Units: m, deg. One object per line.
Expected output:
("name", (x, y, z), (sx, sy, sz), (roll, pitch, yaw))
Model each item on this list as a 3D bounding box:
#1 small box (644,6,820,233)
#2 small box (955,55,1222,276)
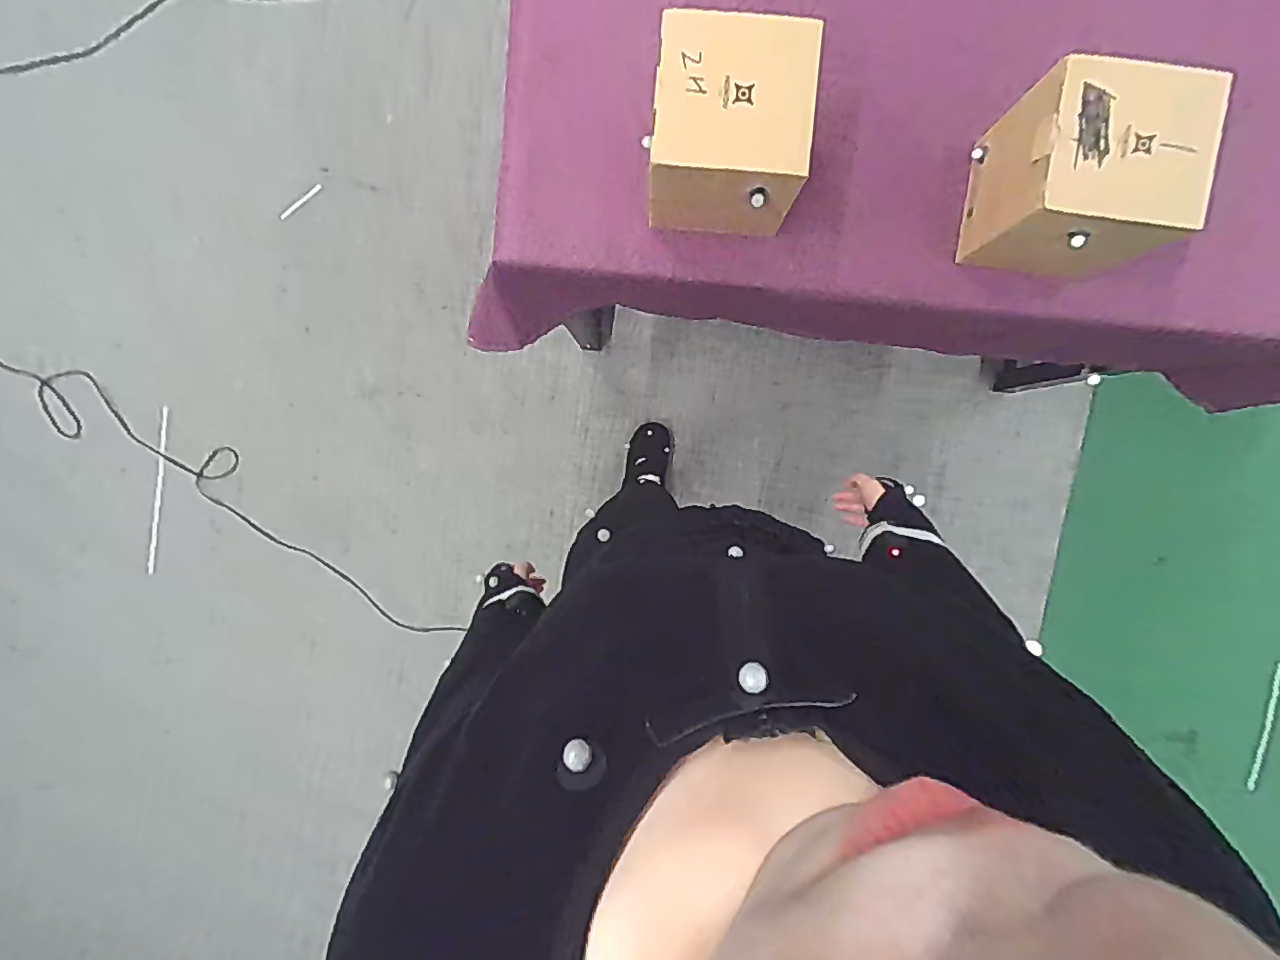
("small box", (0.100, -0.422, 0.664), (0.179, 0.176, 0.168), (6, 92, 1))
("small box", (0.520, -0.363, 0.656), (0.179, 0.176, 0.168), (8, 93, 1))
